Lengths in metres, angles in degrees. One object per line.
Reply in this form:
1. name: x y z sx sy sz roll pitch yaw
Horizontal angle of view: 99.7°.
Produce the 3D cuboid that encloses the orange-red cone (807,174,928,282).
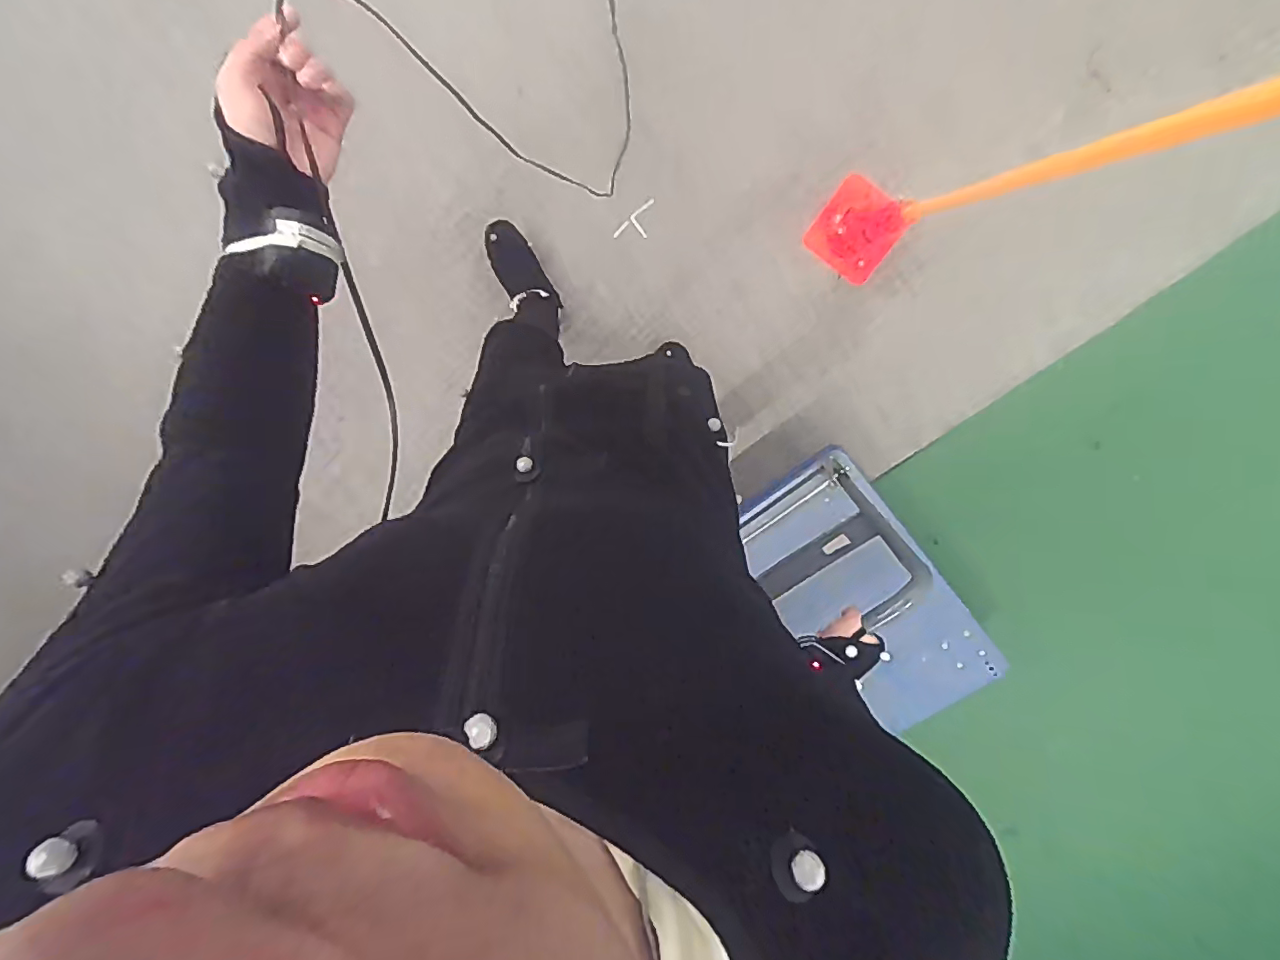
1. orange-red cone: 0.540 -0.574 1.197 0.198 0.360 0.199 35 107 -9
